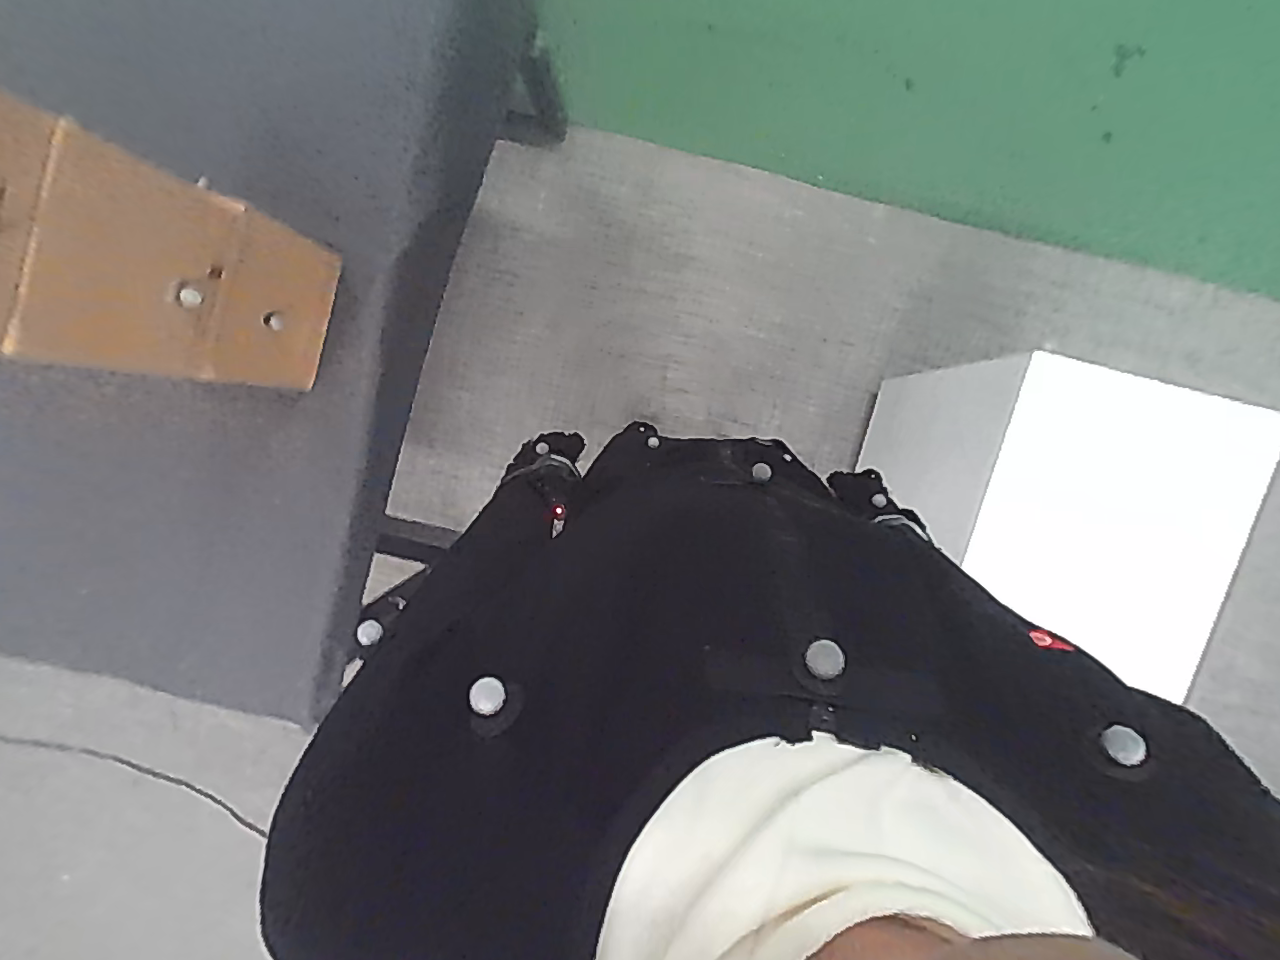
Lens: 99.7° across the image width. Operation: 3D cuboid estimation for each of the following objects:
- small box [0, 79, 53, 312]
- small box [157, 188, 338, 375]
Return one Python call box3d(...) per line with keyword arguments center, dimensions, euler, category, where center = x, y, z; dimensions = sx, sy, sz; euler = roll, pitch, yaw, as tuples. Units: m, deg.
box3d(center=(-0.500, -0.194, 0.290), dimensions=(0.179, 0.176, 0.168), euler=(20, 98, -1), category="small box")
box3d(center=(-0.479, -0.227, 0.614), dimensions=(0.168, 0.176, 0.179), euler=(18, 97, 1), category="small box")
